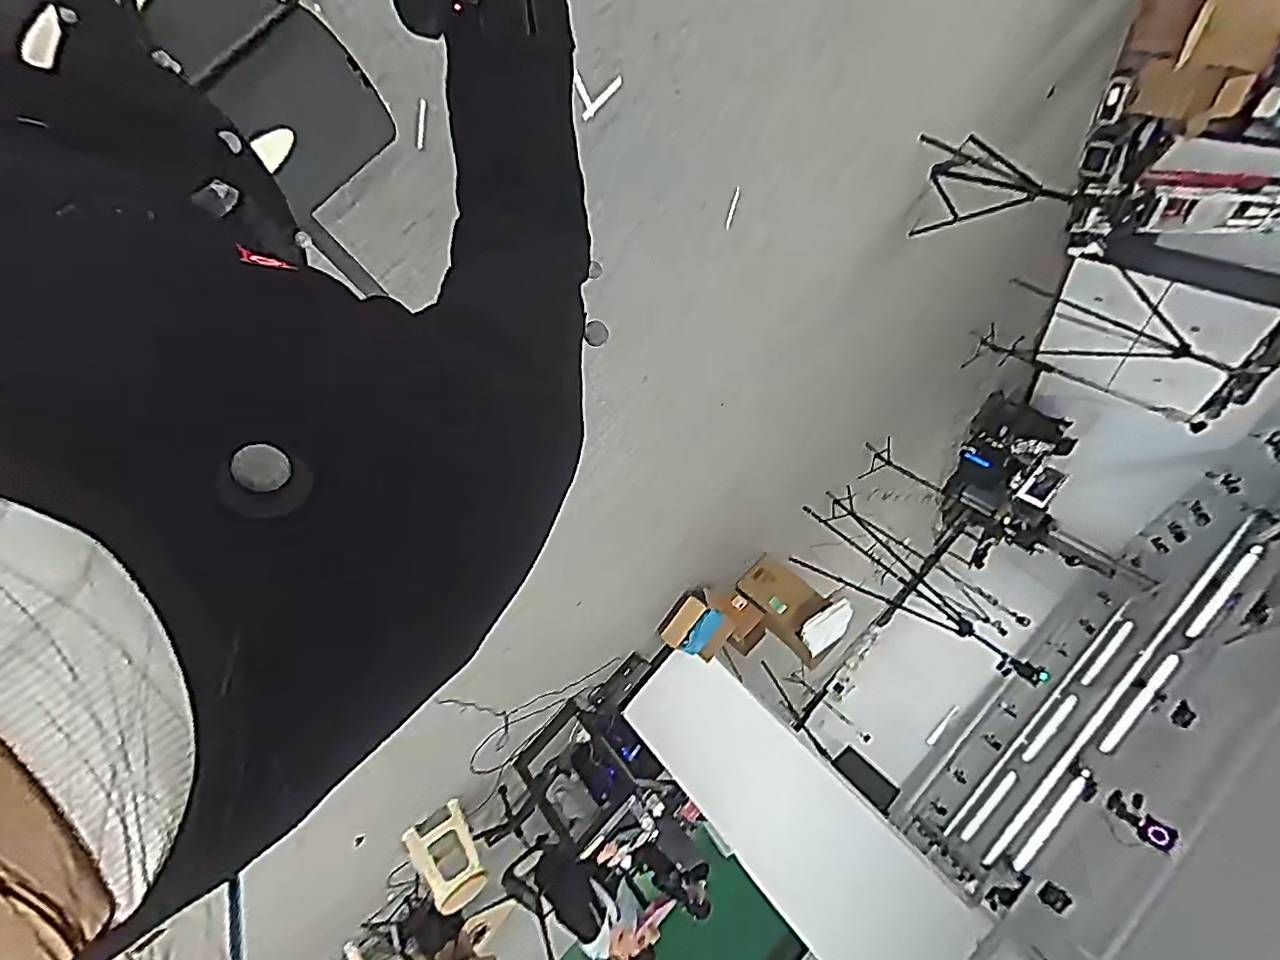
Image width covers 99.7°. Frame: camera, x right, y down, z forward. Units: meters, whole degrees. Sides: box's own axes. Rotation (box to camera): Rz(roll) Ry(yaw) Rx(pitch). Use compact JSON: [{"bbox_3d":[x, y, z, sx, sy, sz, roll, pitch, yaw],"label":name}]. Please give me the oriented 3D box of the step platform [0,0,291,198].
[{"bbox_3d":[-0.912,-0.816,0.914,0.684,0.204,0.286,-48,146,-6],"label":"step platform"}]
